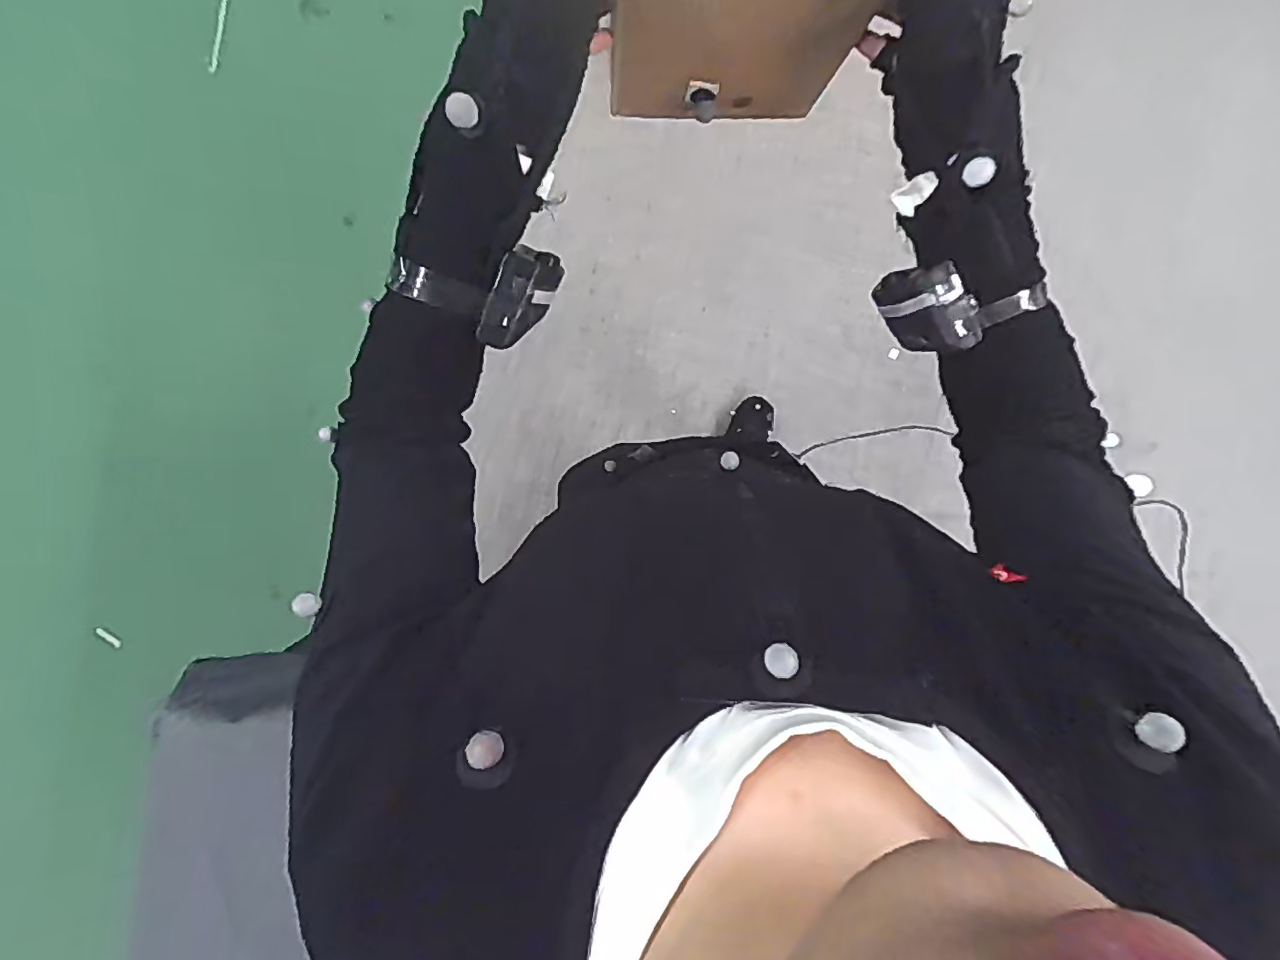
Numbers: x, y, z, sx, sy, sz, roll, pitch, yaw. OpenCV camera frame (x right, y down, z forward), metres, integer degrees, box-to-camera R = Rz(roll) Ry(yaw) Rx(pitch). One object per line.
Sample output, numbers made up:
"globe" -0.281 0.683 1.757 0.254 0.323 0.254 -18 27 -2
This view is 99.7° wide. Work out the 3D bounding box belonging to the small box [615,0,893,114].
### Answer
"small box" 0.068 -0.379 0.354 0.168 0.176 0.179 -2 98 -4
